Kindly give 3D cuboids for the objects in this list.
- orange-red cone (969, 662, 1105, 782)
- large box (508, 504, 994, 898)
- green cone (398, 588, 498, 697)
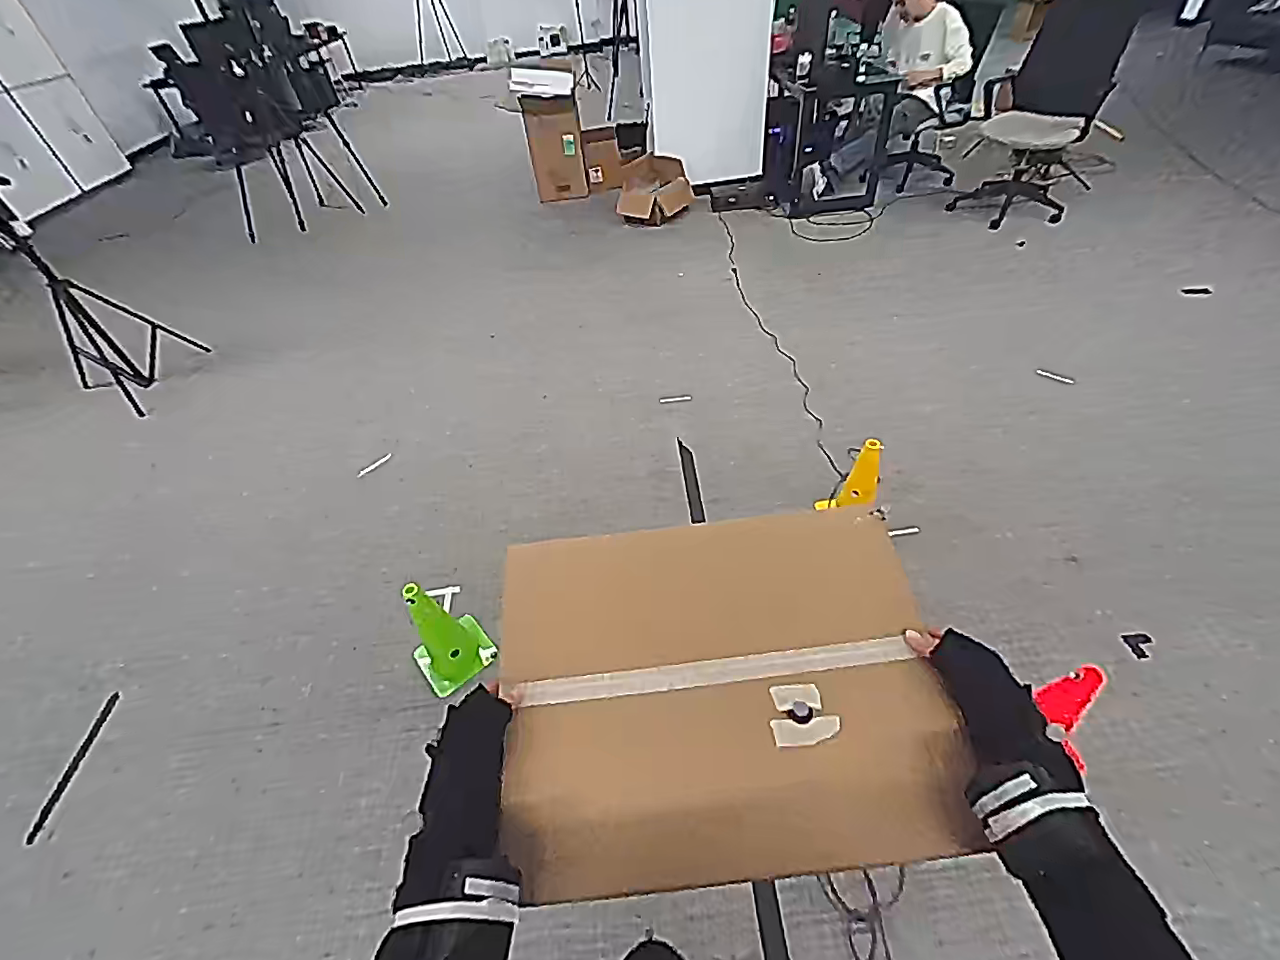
[{"bbox_3d":[0.929,0.507,1.210,0.198,0.360,0.199,-8,44,-2],"label":"orange-red cone"},{"bbox_3d":[0.081,0.261,0.635,0.408,0.320,0.320,-7,57,0],"label":"large box"},{"bbox_3d":[-0.575,0.411,1.514,0.202,0.368,0.200,-37,51,-24],"label":"green cone"}]
